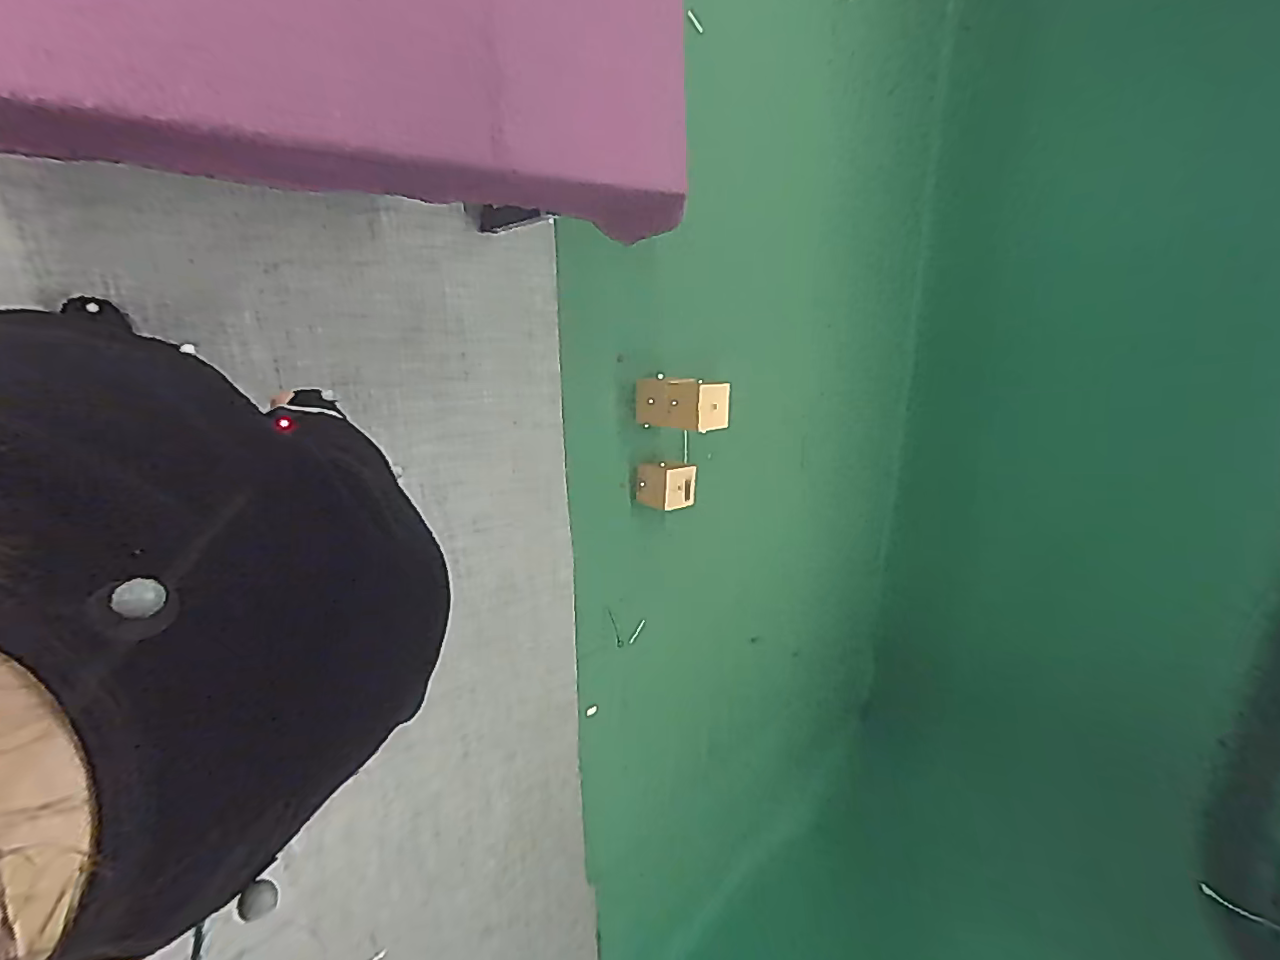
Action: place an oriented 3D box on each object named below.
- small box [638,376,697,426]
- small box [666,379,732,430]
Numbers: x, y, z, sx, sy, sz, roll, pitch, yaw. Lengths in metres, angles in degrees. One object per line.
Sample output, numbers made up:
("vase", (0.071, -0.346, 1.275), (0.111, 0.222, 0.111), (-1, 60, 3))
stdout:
("small box", (0.106, -0.315, 2.116), (0.168, 0.176, 0.179), (-14, 109, -43))
("small box", (0.217, -0.284, 2.001), (0.179, 0.176, 0.168), (-13, 109, -42))
